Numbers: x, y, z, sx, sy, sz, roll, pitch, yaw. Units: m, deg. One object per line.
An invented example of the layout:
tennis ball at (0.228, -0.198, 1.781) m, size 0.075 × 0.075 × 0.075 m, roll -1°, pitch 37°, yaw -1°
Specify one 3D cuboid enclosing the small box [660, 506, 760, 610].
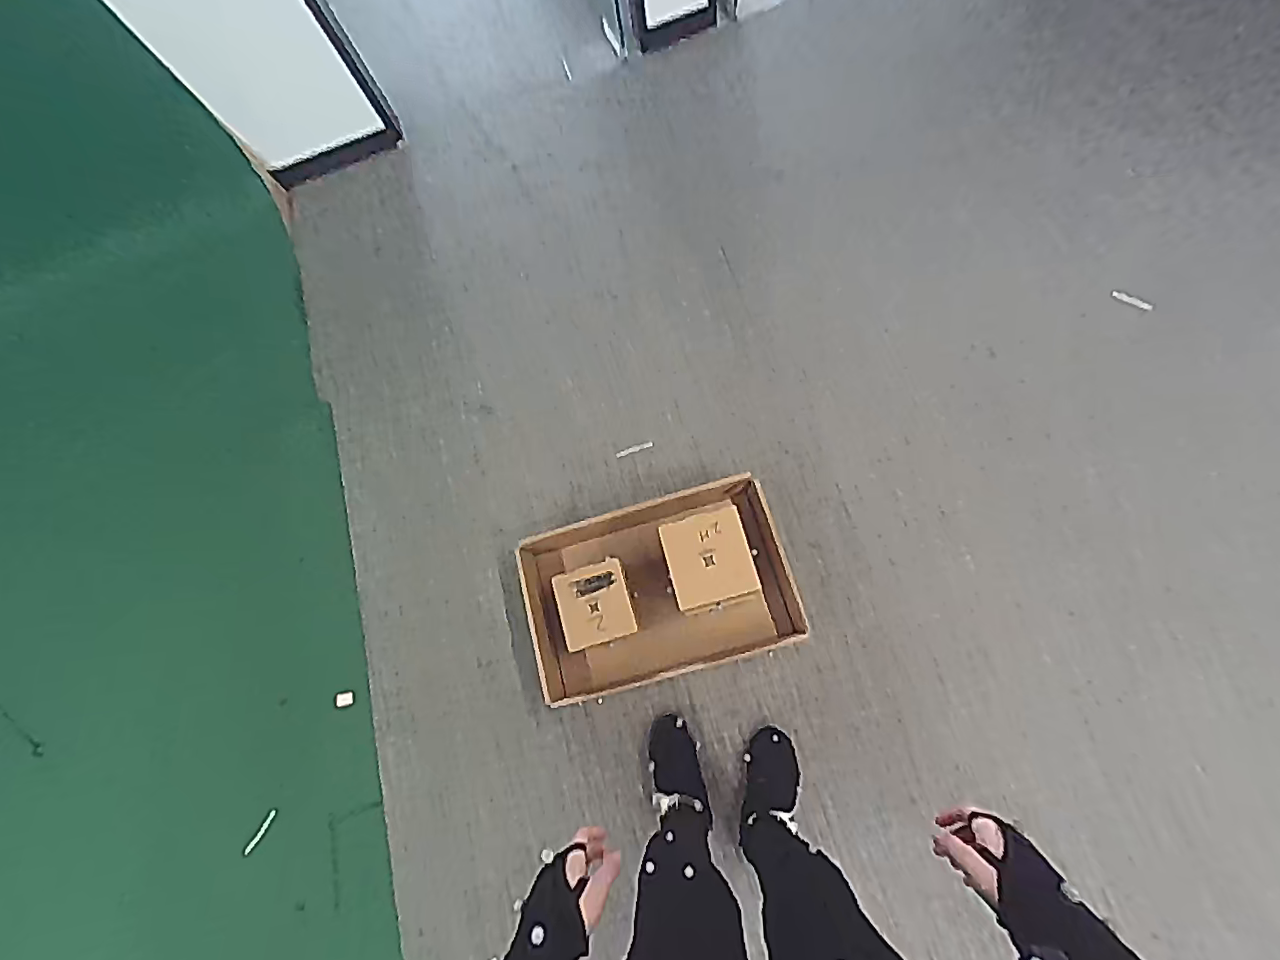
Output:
small box at (0.149, 0.171, 1.142) m, size 0.168 × 0.176 × 0.179 m, roll -15°, pitch 73°, yaw 4°
